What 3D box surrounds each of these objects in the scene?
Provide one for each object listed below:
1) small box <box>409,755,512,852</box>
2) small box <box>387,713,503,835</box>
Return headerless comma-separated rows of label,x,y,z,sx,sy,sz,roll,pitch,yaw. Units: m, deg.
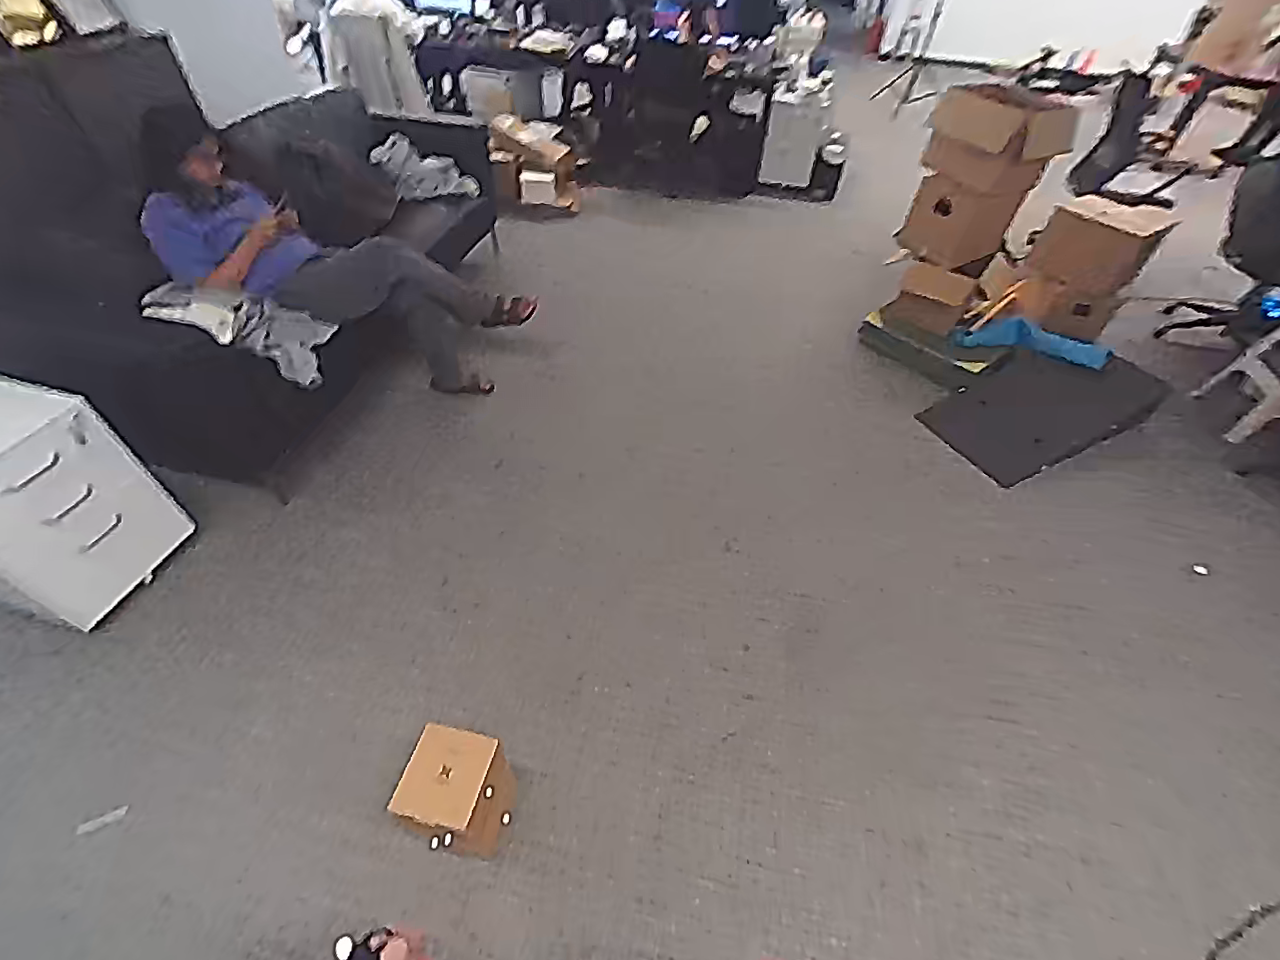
small box,-0.416,0.753,1.290,0.168,0.176,0.179,12,47,8
small box,-0.408,0.641,1.173,0.168,0.176,0.179,11,46,6
